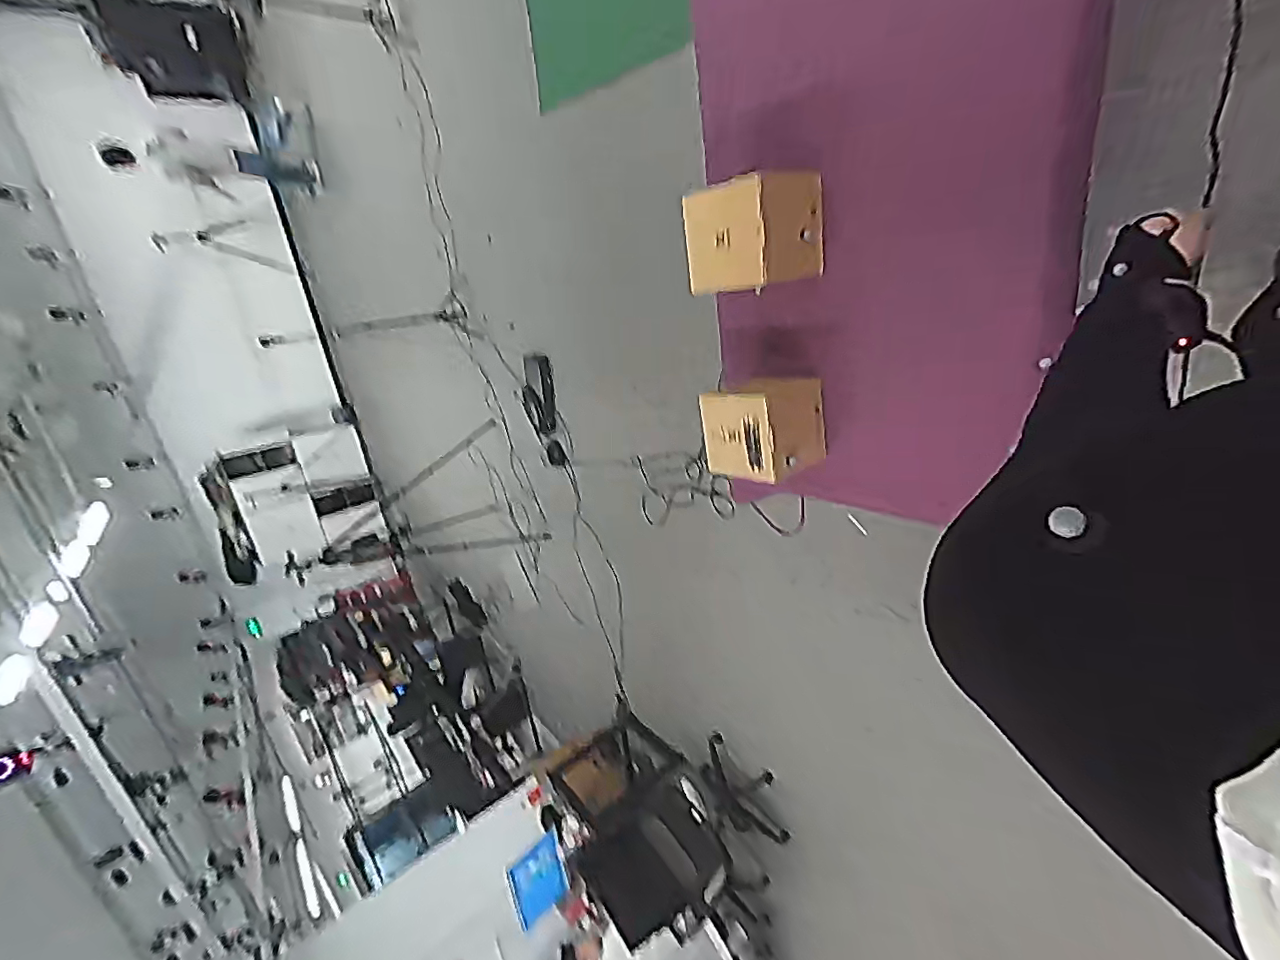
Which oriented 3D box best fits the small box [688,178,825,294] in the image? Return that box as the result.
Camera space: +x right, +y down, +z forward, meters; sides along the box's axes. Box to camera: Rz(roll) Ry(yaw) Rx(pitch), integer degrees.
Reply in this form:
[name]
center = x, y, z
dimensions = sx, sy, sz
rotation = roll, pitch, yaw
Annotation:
[small box]
center = 0.212, -0.437, 0.984
dimensions = 0.179, 0.176, 0.168
rotation = 14, 119, 49
